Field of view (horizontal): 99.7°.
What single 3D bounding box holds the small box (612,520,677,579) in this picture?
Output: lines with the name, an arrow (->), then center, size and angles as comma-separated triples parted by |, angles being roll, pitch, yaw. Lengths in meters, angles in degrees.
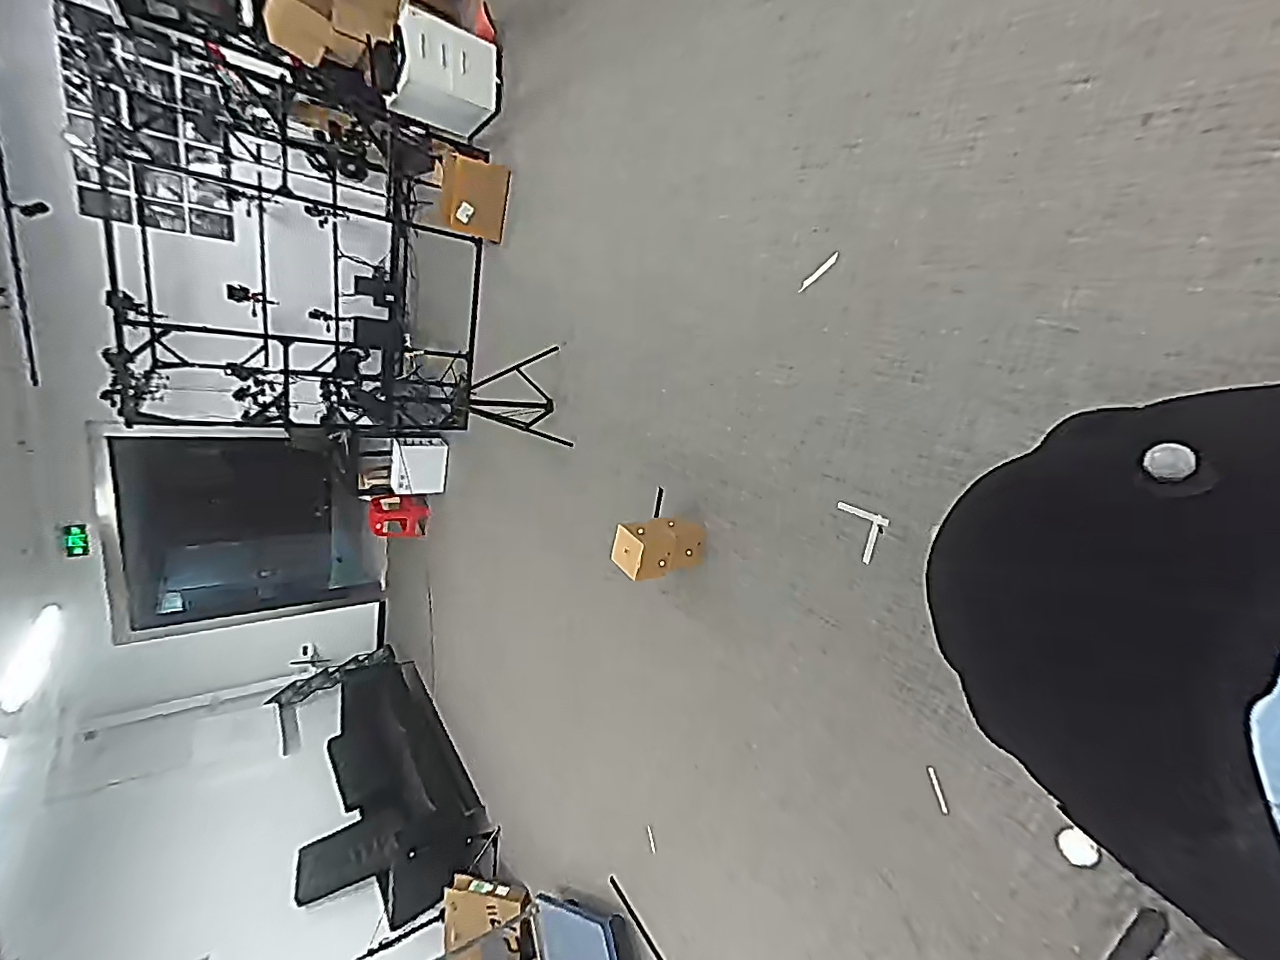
small box -> 0.018, 0.269, 2.144 | 0.179, 0.176, 0.168 | 36, 120, 45

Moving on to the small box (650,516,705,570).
small box -> 0.147, 0.253, 2.243 | 0.179, 0.176, 0.168 | 28, 114, 49
